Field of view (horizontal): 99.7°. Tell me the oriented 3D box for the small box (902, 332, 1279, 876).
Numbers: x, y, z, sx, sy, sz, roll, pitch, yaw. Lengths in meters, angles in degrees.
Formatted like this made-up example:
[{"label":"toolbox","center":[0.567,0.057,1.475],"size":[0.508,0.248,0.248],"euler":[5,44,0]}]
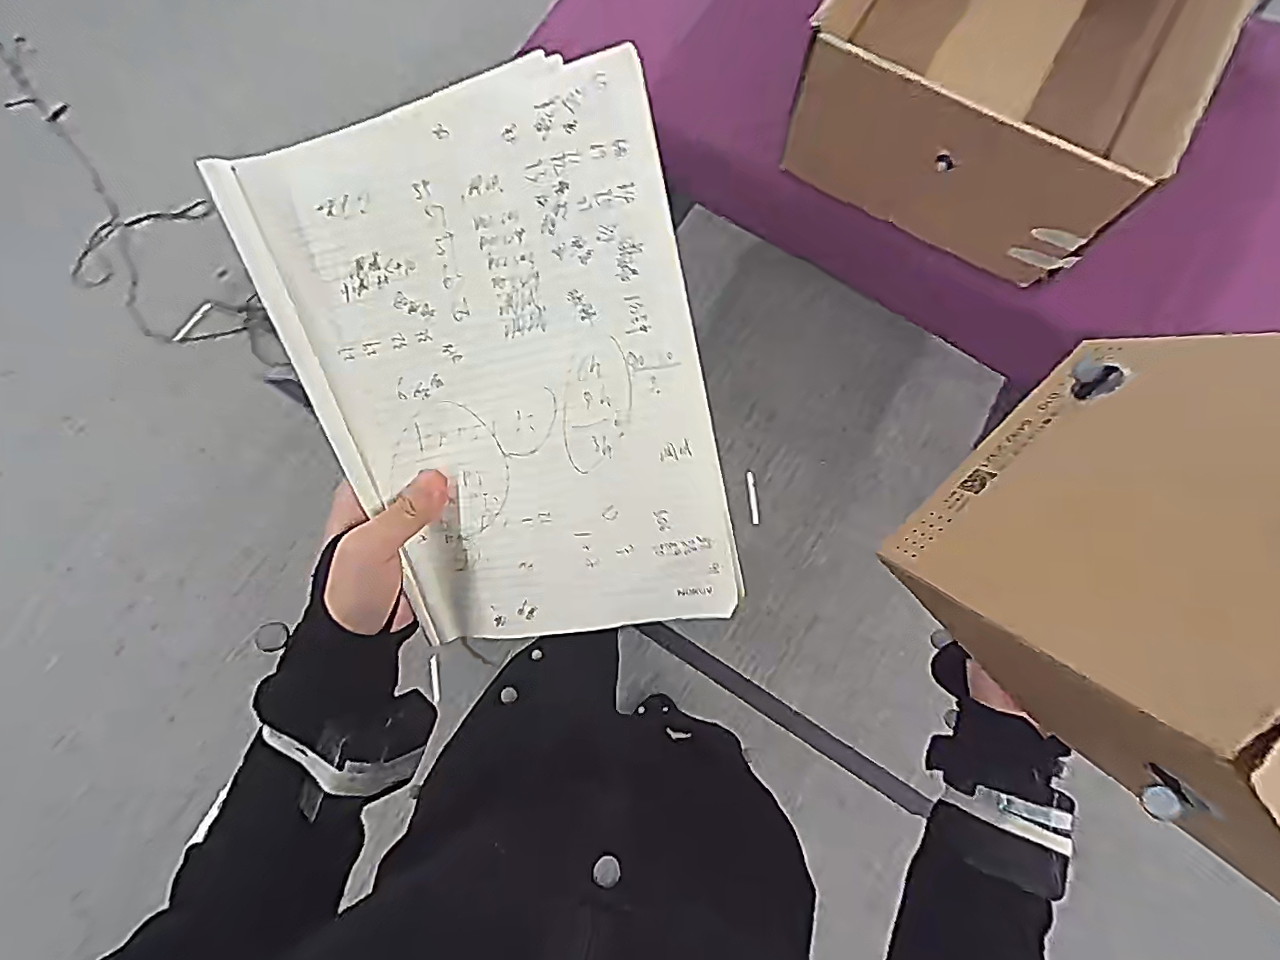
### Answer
[{"label":"small box","center":[0.263,0.050,0.242],"size":[0.179,0.176,0.168],"euler":[43,94,-16]}]
